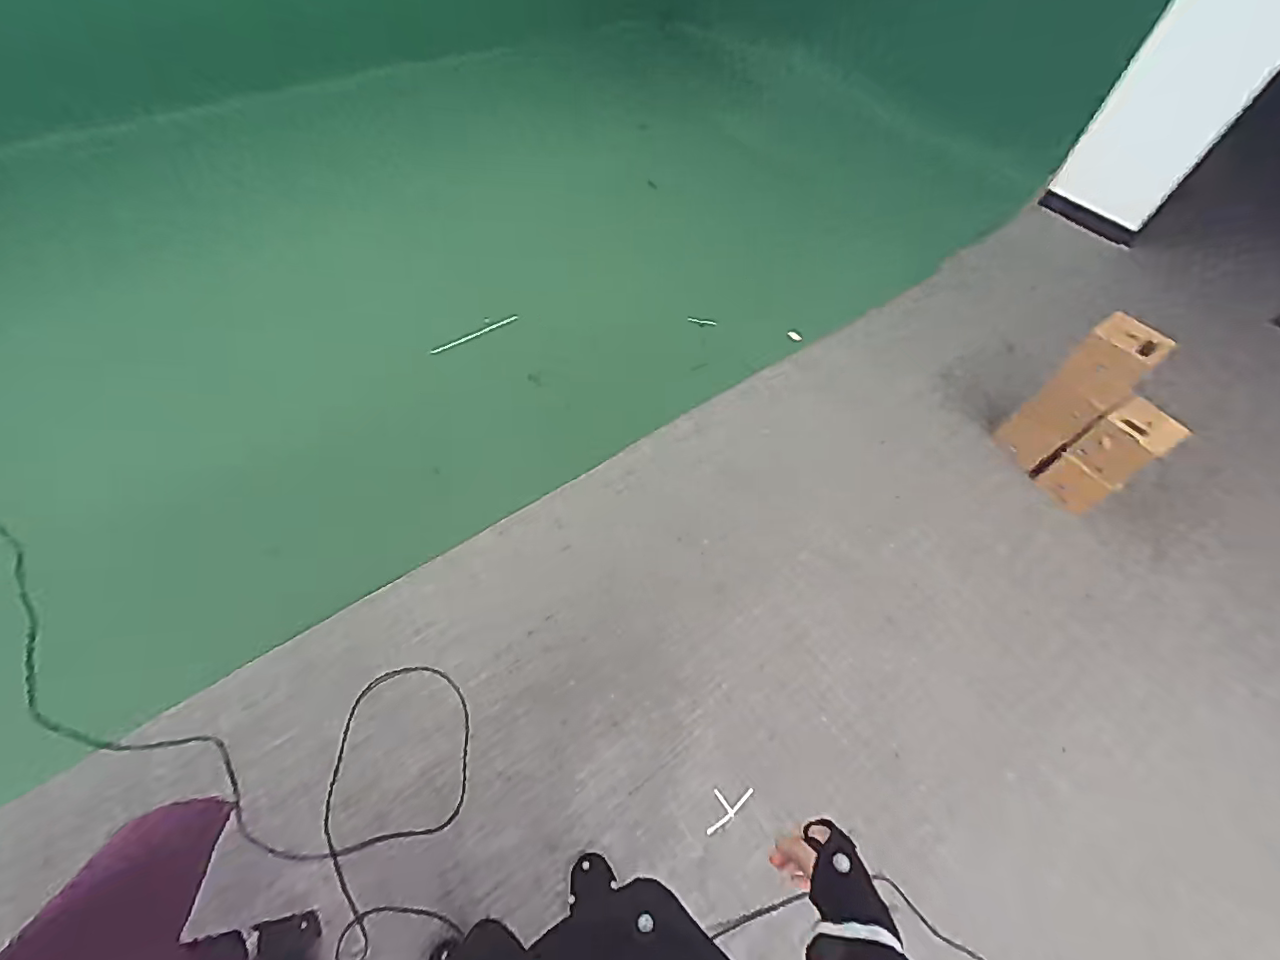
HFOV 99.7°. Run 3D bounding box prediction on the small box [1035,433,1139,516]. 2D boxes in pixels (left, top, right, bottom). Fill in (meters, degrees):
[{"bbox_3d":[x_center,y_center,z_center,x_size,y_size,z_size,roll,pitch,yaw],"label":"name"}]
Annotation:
[{"bbox_3d":[1.450,-0.017,1.768,0.179,0.176,0.168,-31,63,-20],"label":"small box"}]
